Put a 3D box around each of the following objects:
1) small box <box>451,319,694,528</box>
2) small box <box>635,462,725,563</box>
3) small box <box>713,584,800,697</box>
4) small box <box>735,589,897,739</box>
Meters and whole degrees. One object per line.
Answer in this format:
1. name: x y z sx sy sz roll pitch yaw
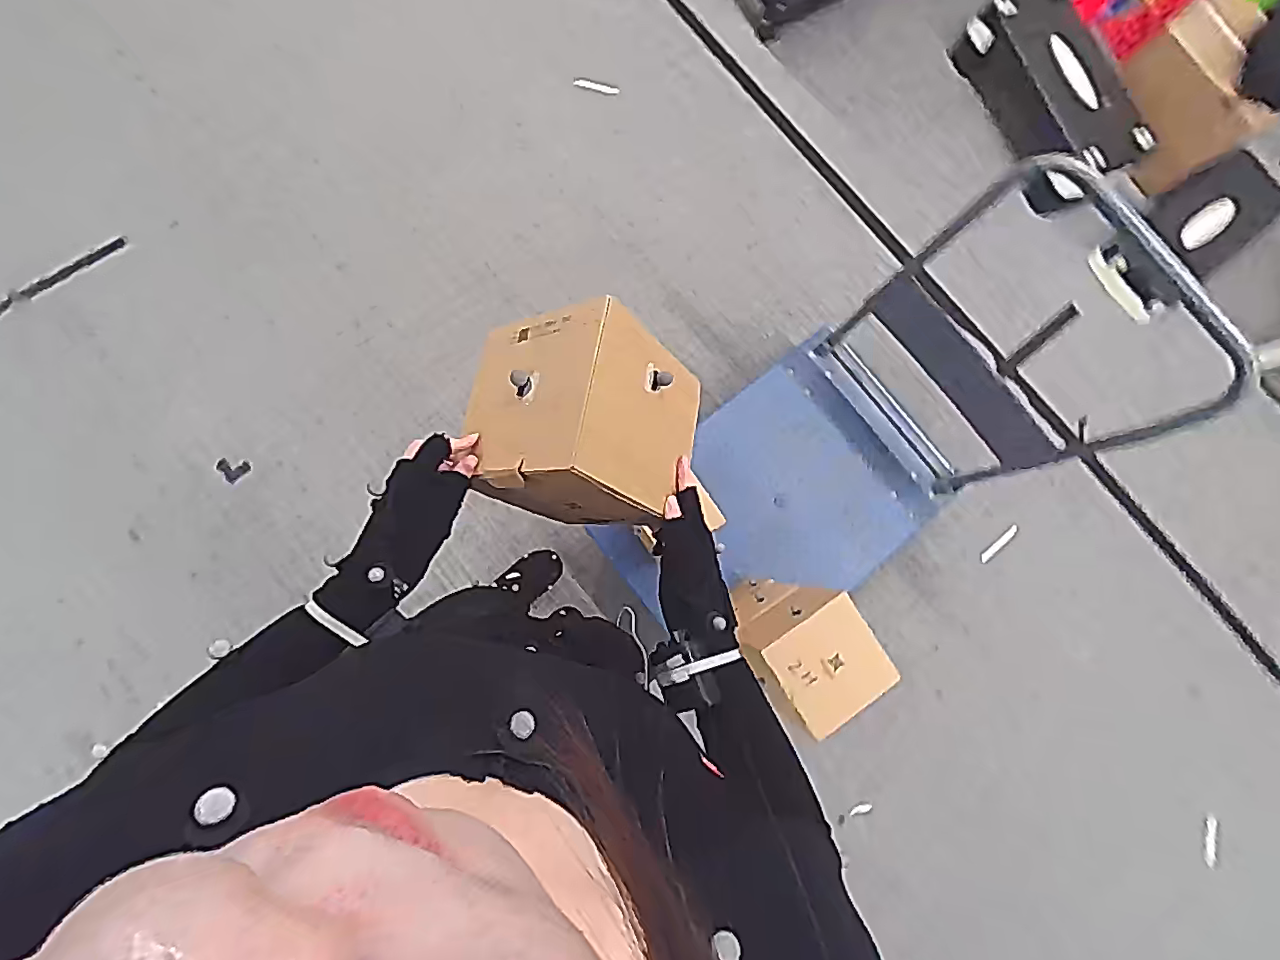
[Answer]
1. small box: -0.060 -0.052 0.566 0.168 0.179 0.176 -2 70 36
2. small box: 0.072 0.079 1.276 0.168 0.176 0.179 -34 86 -10
3. small box: 0.271 0.327 1.097 0.168 0.176 0.179 -33 87 -9
4. small box: 0.292 0.302 0.935 0.179 0.176 0.168 -31 86 -9
